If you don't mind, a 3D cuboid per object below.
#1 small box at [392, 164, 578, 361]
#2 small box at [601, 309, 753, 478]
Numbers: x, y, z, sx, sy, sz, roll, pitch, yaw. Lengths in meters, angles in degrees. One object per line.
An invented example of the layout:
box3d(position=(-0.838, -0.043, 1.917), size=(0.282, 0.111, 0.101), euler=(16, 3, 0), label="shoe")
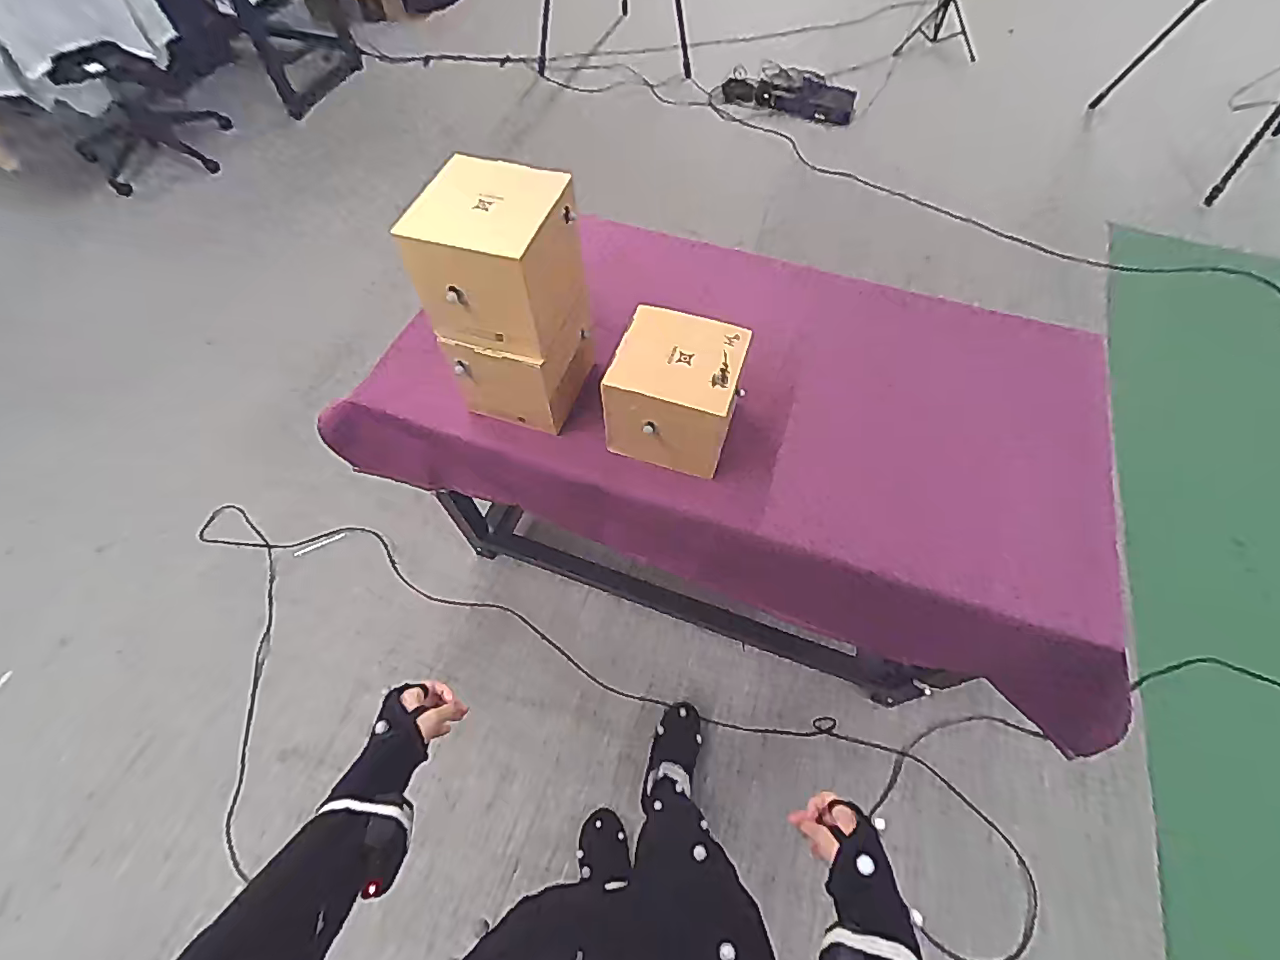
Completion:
box3d(position=(-0.190, -0.287, 0.729), size=(0.168, 0.176, 0.179), euler=(14, 59, 9), label="small box")
box3d(position=(0.055, -0.125, 0.818), size=(0.179, 0.176, 0.168), euler=(16, 61, 10), label="small box")
